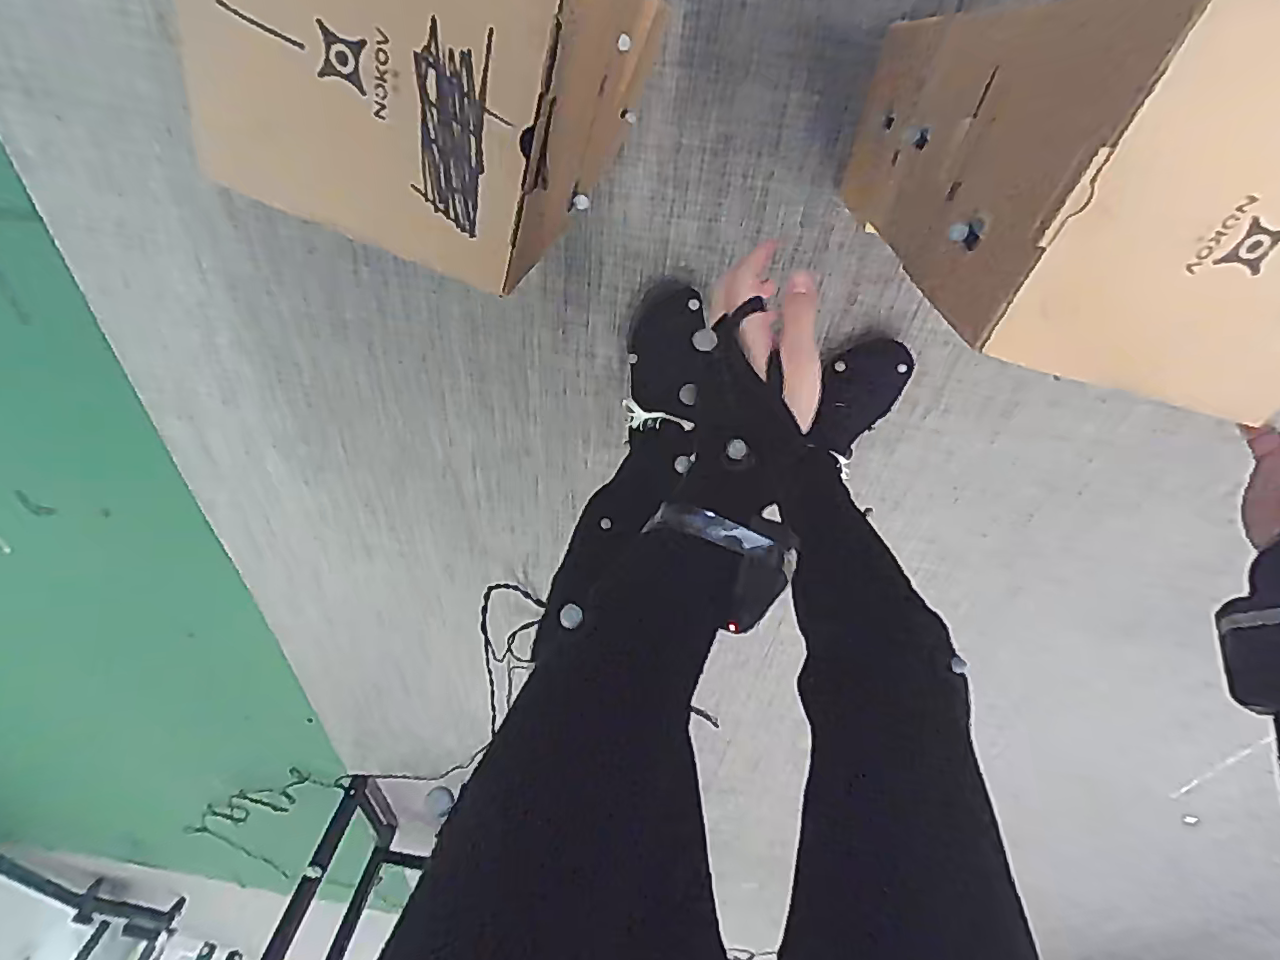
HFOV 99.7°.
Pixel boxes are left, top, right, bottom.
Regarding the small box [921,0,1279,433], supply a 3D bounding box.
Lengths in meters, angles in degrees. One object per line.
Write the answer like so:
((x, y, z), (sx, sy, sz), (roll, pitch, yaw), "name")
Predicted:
((0.292, -0.157, 0.299), (0.179, 0.176, 0.168), (16, 130, -2), "small box")

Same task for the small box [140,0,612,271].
((-0.124, -0.250, 0.298), (0.179, 0.176, 0.168), (22, 128, -6), "small box")

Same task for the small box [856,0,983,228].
((0.336, -0.361, 0.551), (0.168, 0.176, 0.179), (11, 129, 2), "small box")

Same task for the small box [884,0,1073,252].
((0.317, -0.261, 0.421), (0.179, 0.176, 0.168), (13, 129, 1), "small box")

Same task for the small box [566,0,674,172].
((-0.076, -0.456, 0.550), (0.168, 0.176, 0.179), (26, 128, -11), "small box")
